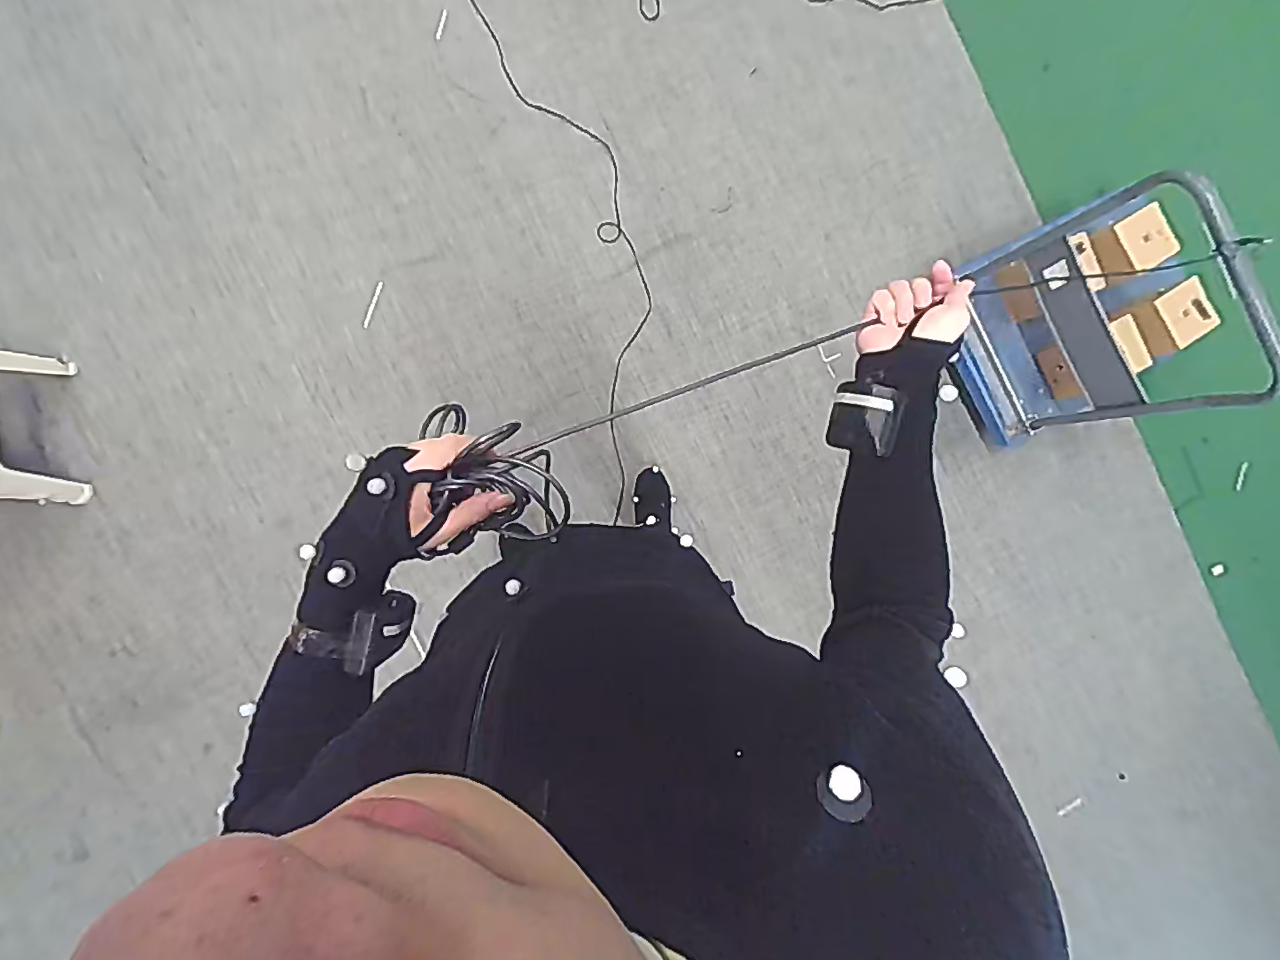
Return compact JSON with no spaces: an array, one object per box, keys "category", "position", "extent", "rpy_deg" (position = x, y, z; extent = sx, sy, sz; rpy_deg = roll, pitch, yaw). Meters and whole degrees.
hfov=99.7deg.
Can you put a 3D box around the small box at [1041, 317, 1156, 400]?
[{"category":"small box","position":[1.363,-0.357,1.618],"extent":[0.179,0.176,0.168],"rpy_deg":[-26,91,-8]}]

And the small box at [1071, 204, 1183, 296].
[{"category":"small box","position":[1.472,-0.694,1.650],"extent":[0.179,0.176,0.168],"rpy_deg":[-31,93,-9]}]

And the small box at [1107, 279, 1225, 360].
[{"category":"small box","position":[1.601,-0.478,1.658],"extent":[0.179,0.176,0.168],"rpy_deg":[-31,91,-8]}]
